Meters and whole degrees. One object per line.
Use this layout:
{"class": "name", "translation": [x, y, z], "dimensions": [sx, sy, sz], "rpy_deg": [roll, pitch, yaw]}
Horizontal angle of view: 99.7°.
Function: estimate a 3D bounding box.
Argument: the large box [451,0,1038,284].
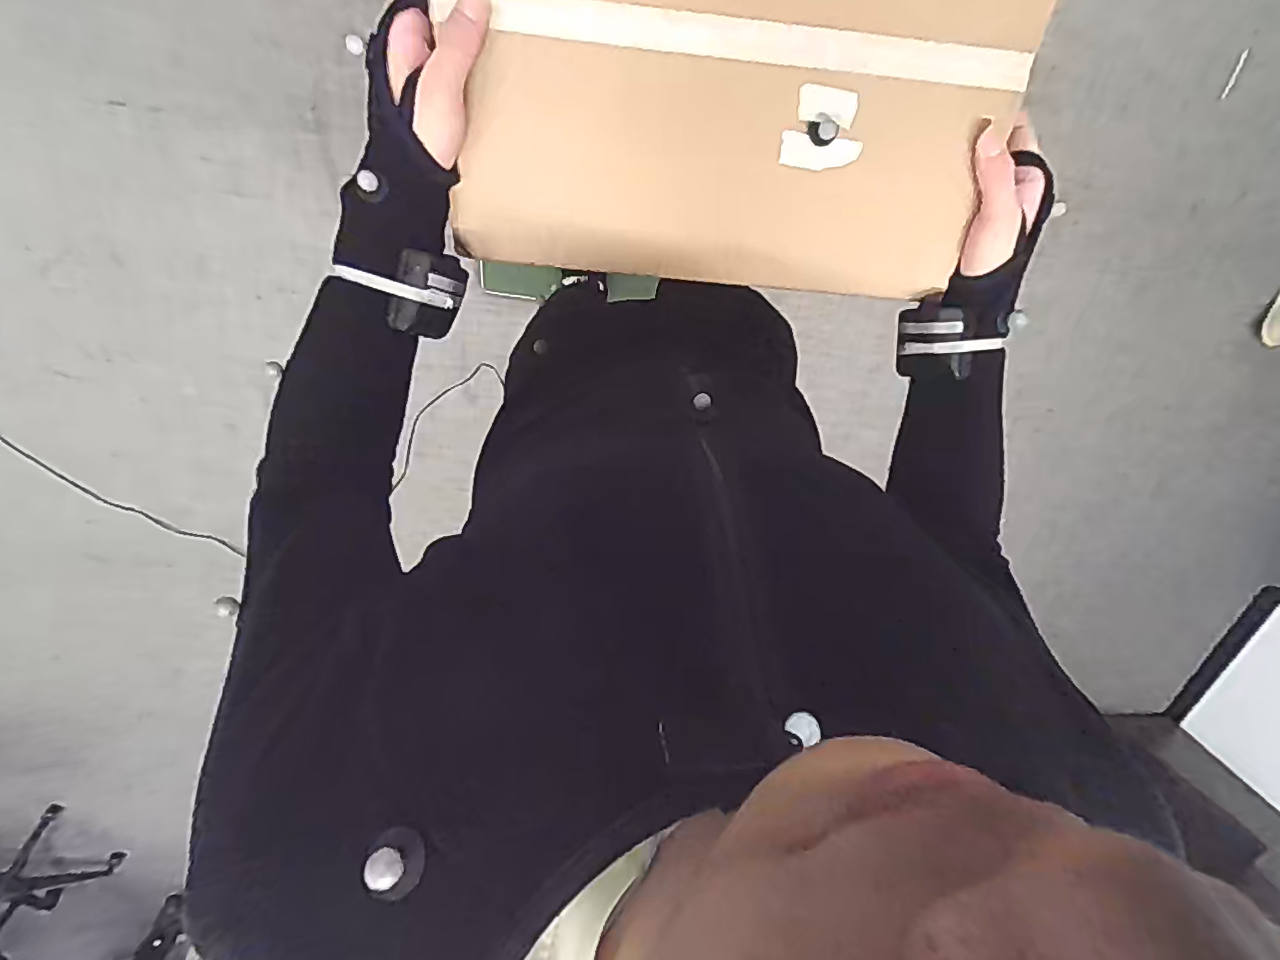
{"class": "large box", "translation": [0.063, -0.386, 0.499], "dimensions": [0.408, 0.320, 0.320], "rpy_deg": [3, 123, -5]}
